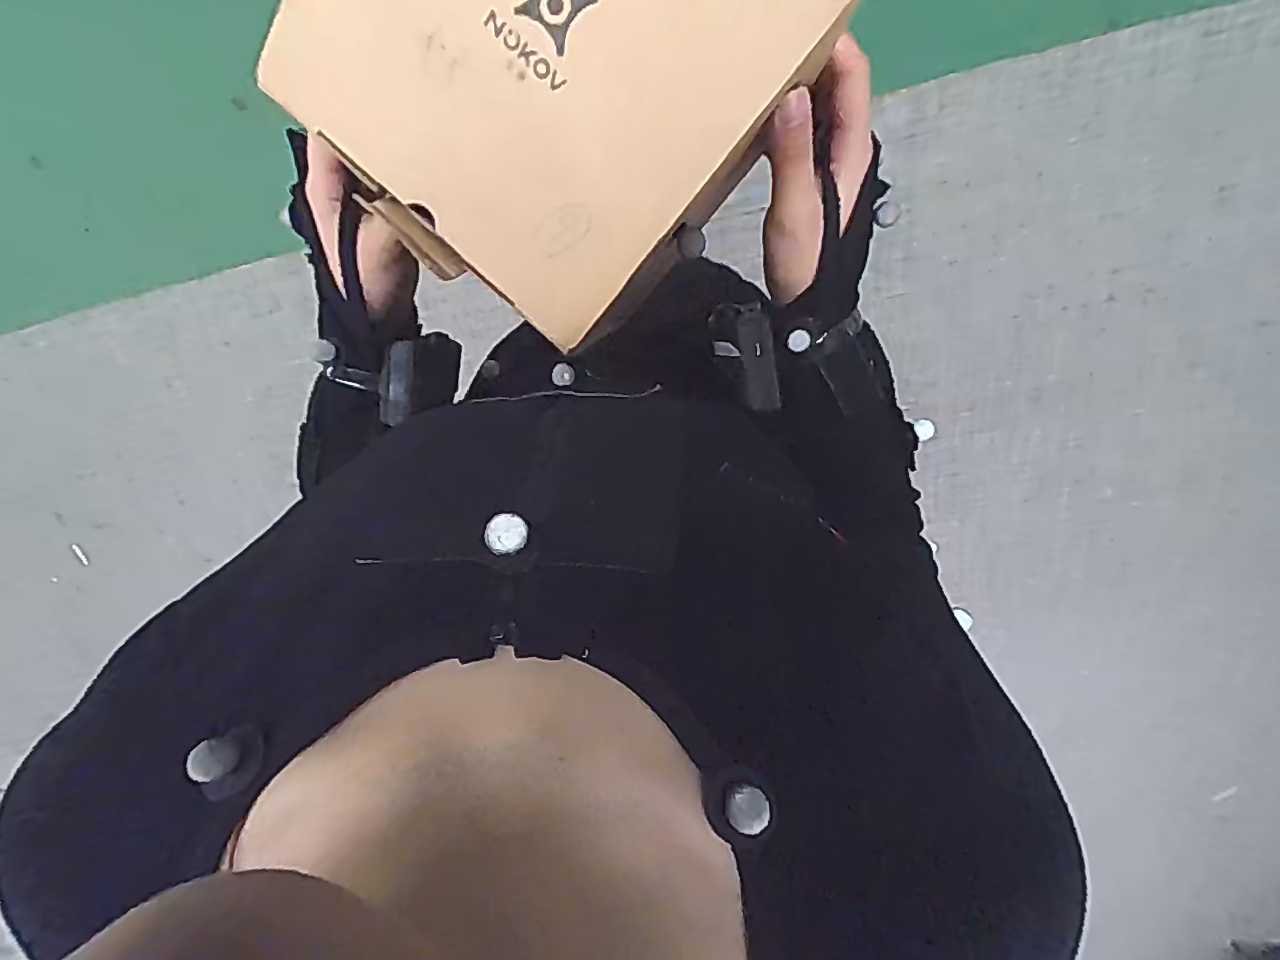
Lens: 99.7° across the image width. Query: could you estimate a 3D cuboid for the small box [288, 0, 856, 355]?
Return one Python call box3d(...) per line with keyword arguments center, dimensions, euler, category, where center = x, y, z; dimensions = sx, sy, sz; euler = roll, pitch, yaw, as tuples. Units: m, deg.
box3d(center=(-0.025, -0.193, 0.286), dimensions=(0.168, 0.176, 0.179), euler=(41, 109, -9), category="small box")
